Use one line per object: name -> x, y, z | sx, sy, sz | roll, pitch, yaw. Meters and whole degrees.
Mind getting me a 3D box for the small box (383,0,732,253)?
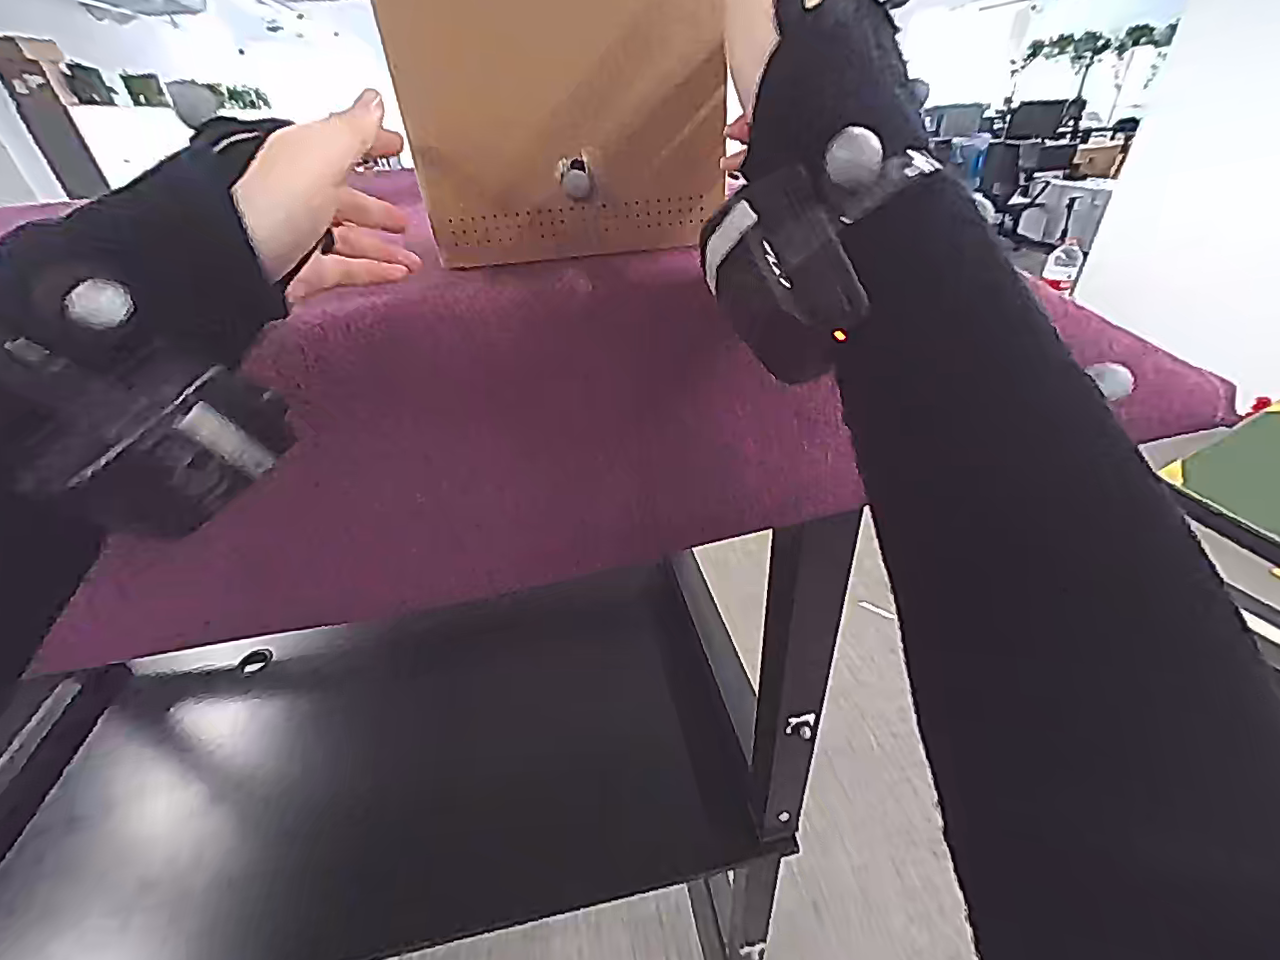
small box -> -0.042, -0.254, 0.346 | 0.179, 0.176, 0.168 | -6, 33, -3
